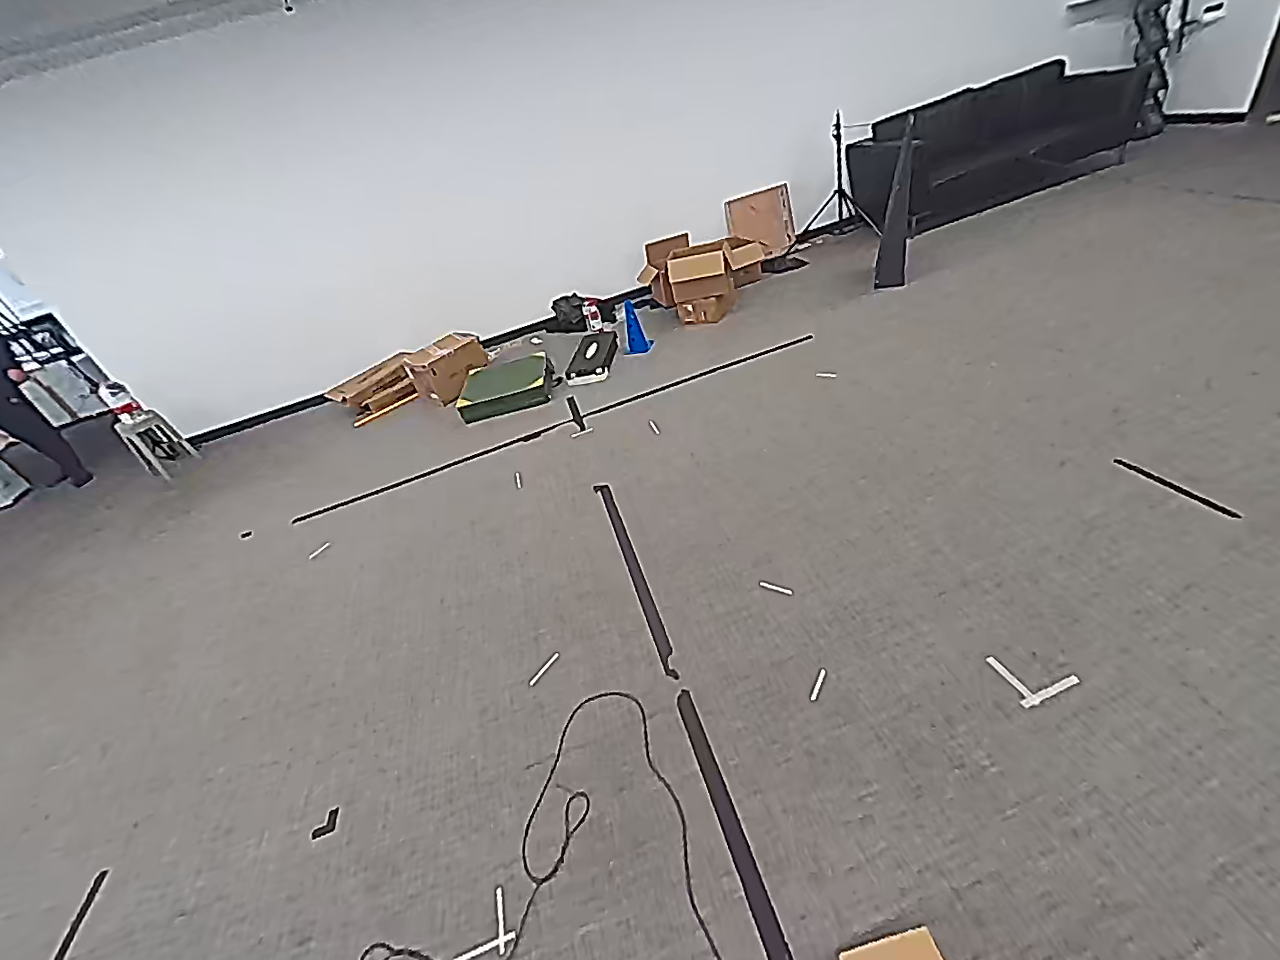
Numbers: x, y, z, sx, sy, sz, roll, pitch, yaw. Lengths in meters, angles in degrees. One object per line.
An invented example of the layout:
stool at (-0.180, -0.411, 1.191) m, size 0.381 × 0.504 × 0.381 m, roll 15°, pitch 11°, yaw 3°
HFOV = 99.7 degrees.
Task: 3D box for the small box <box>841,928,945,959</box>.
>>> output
small box at (0.486, 0.962, 0.980) m, size 0.179 × 0.176 × 0.168 m, roll -17°, pitch 35°, yaw -1°
